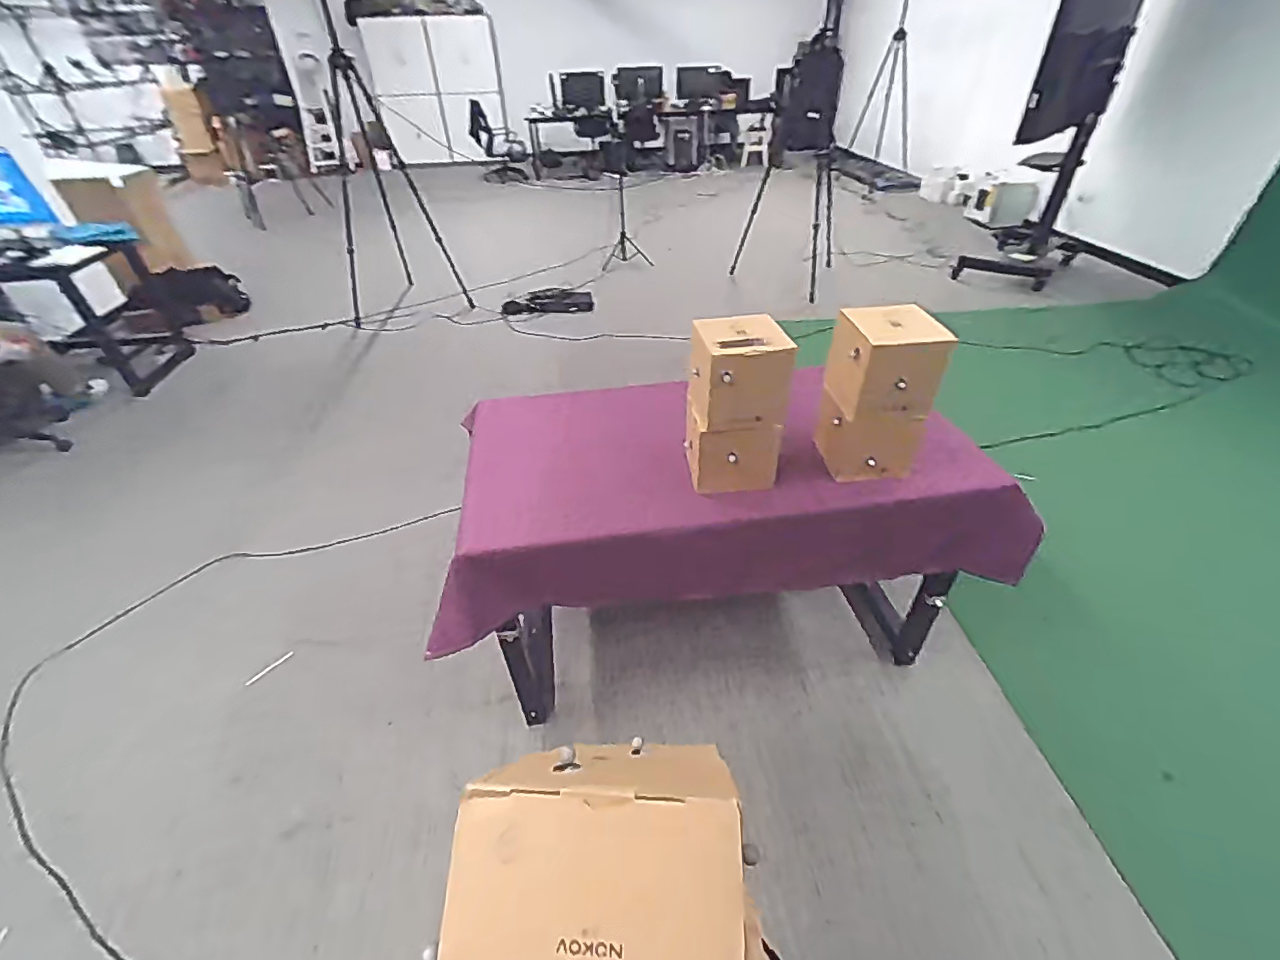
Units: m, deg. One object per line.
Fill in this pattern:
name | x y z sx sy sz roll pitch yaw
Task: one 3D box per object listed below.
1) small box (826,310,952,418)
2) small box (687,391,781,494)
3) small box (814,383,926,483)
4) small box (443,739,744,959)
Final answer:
small box | 0.508 -0.239 1.131 0.168 0.176 0.179 -4 39 -3
small box | 0.202 -0.081 1.210 0.179 0.176 0.168 -4 39 -2
small box | 0.511 -0.111 1.235 0.168 0.176 0.179 -3 39 -1
small box | -0.020 0.280 0.367 0.168 0.176 0.179 0 69 6
